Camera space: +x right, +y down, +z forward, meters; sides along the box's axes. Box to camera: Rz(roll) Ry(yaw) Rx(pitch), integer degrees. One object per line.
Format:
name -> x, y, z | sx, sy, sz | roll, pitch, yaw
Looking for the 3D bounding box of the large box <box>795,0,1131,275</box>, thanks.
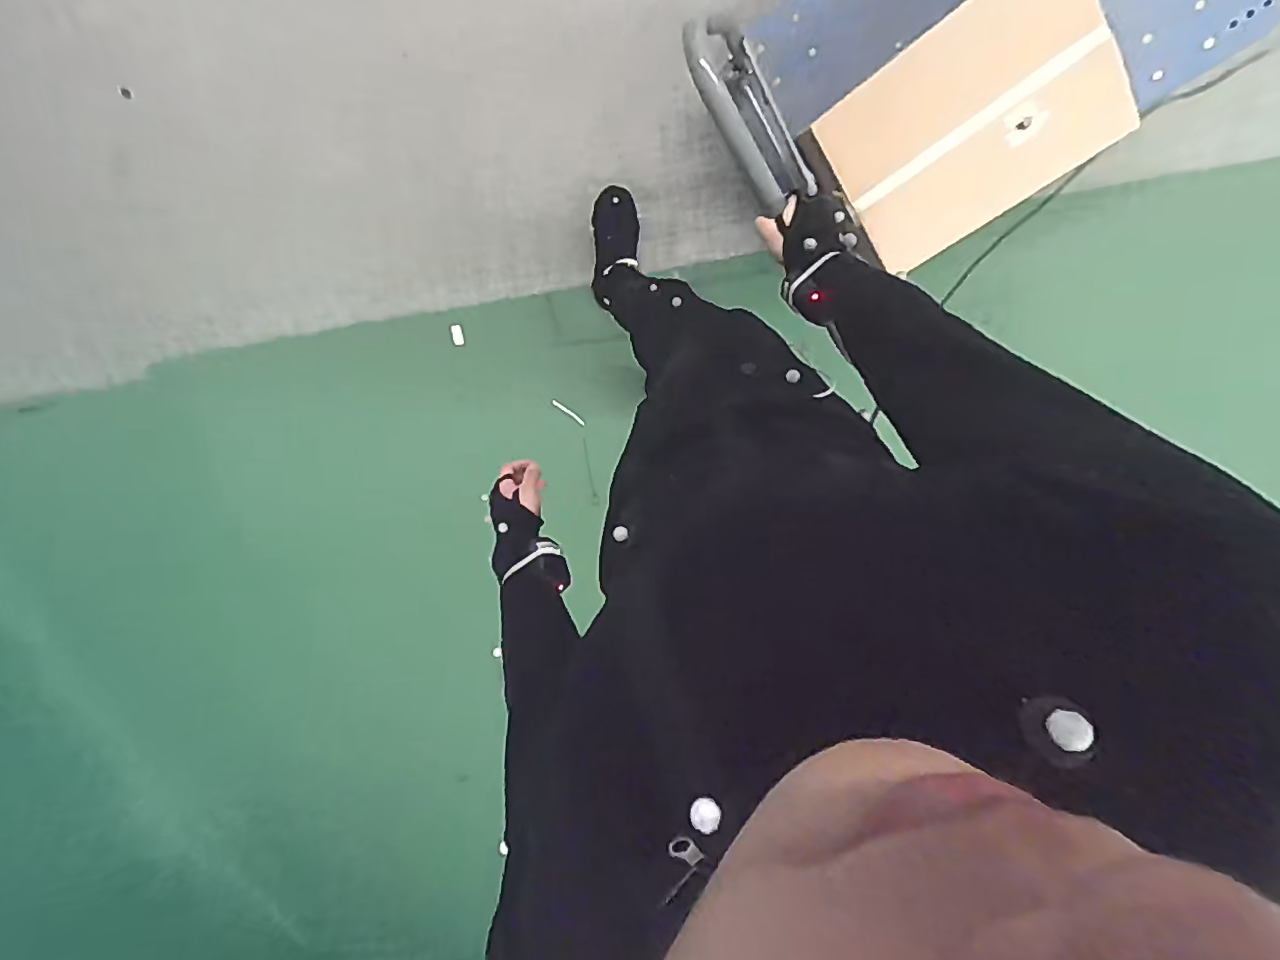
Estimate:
large box -> 0.555, -0.654, 1.014 | 0.408, 0.320, 0.320 | -30, 110, 23
